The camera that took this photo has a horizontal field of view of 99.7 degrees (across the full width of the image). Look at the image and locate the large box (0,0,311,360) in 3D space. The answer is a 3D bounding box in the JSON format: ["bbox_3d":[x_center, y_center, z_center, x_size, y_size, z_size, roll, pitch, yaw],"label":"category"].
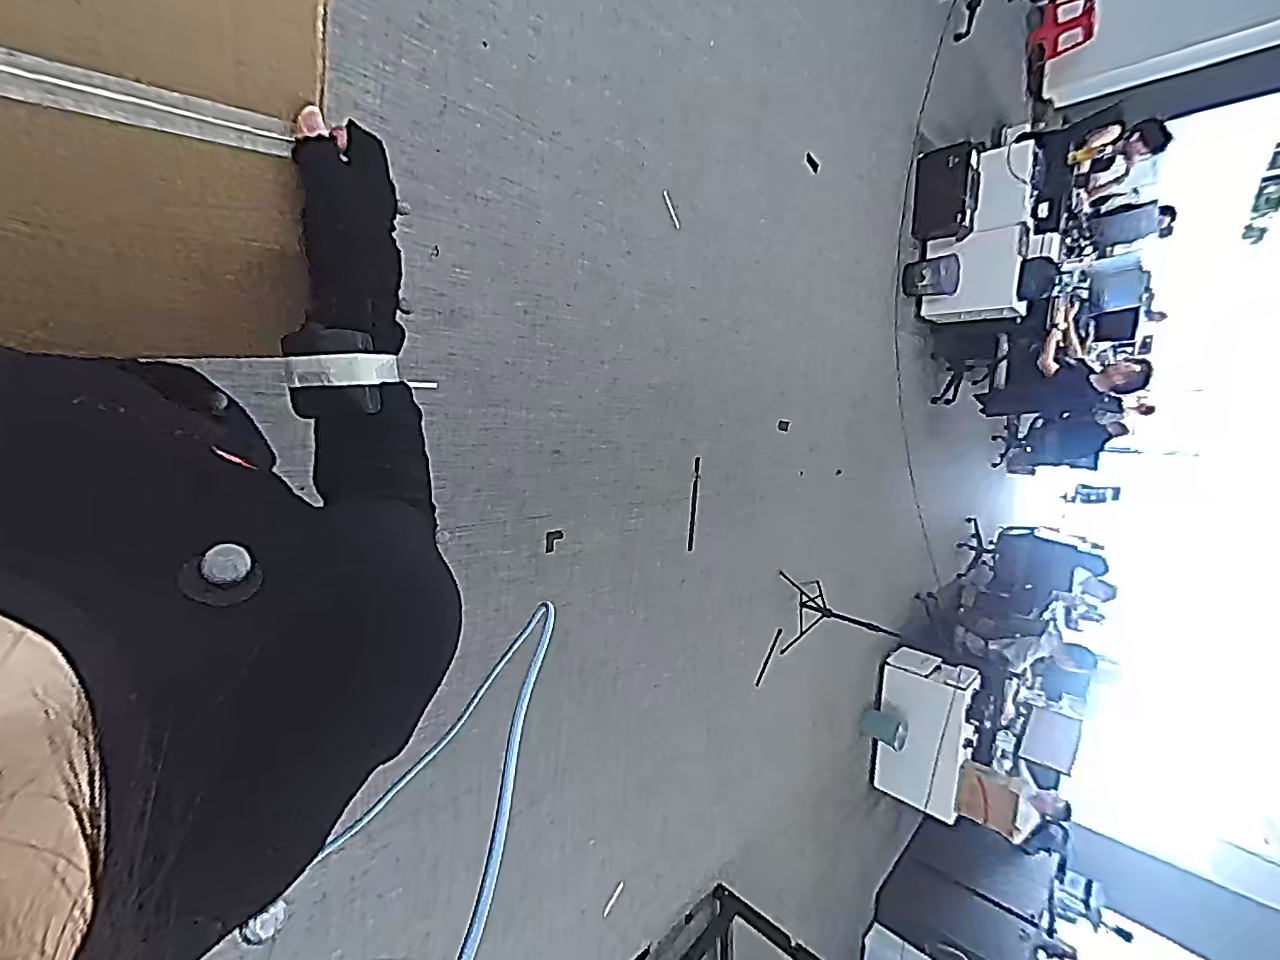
[{"bbox_3d":[-0.460,-0.278,0.309,0.408,0.320,0.320,-14,136,-45],"label":"large box"}]
